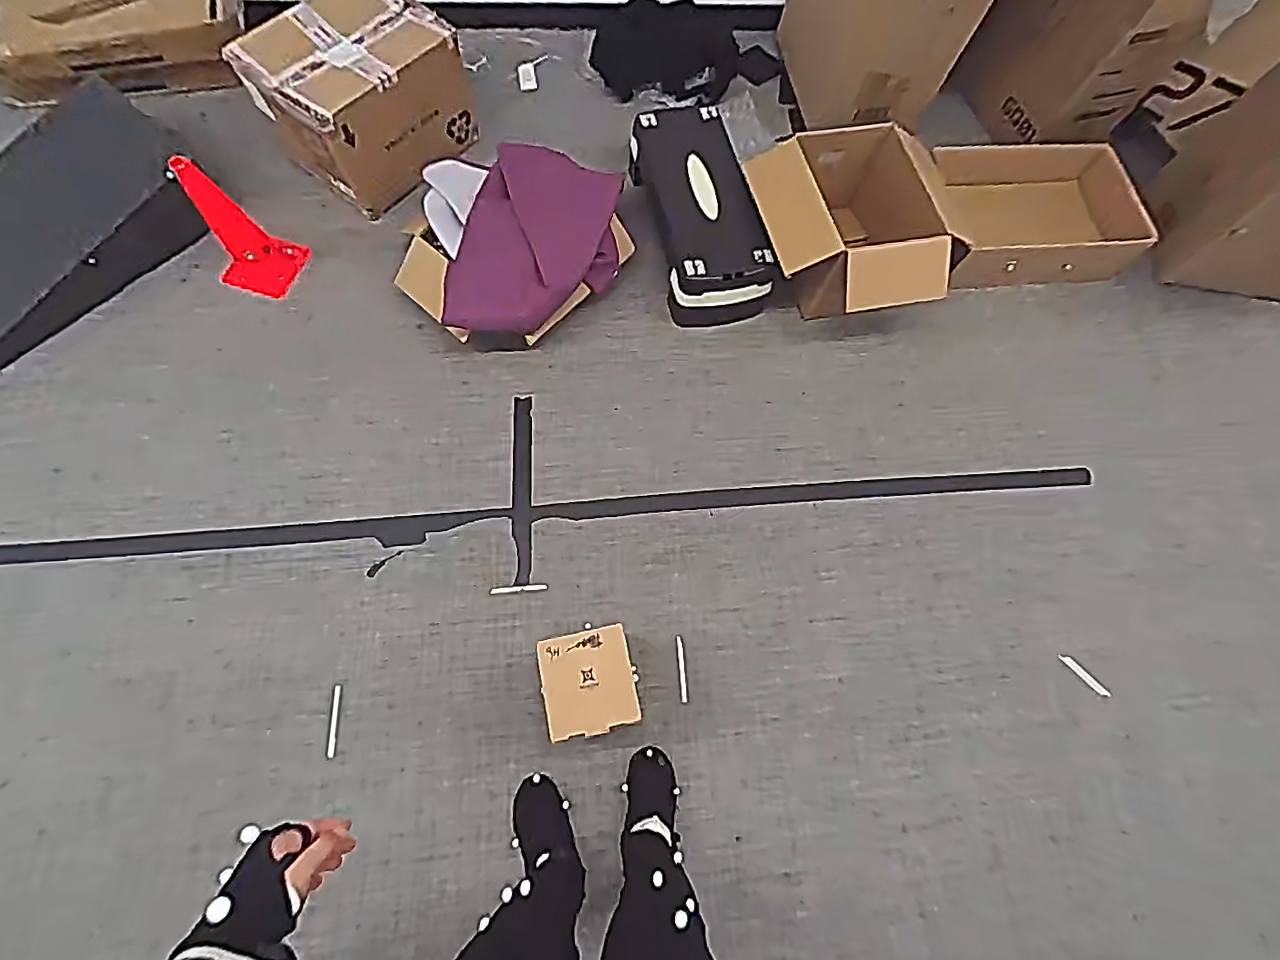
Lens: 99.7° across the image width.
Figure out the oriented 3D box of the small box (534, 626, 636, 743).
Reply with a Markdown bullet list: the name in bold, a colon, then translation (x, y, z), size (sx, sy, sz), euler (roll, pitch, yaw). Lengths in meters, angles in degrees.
- **small box**: translation (-0.104, 0.390, 1.054), size (0.168, 0.176, 0.179), euler (-10, 72, -7)
